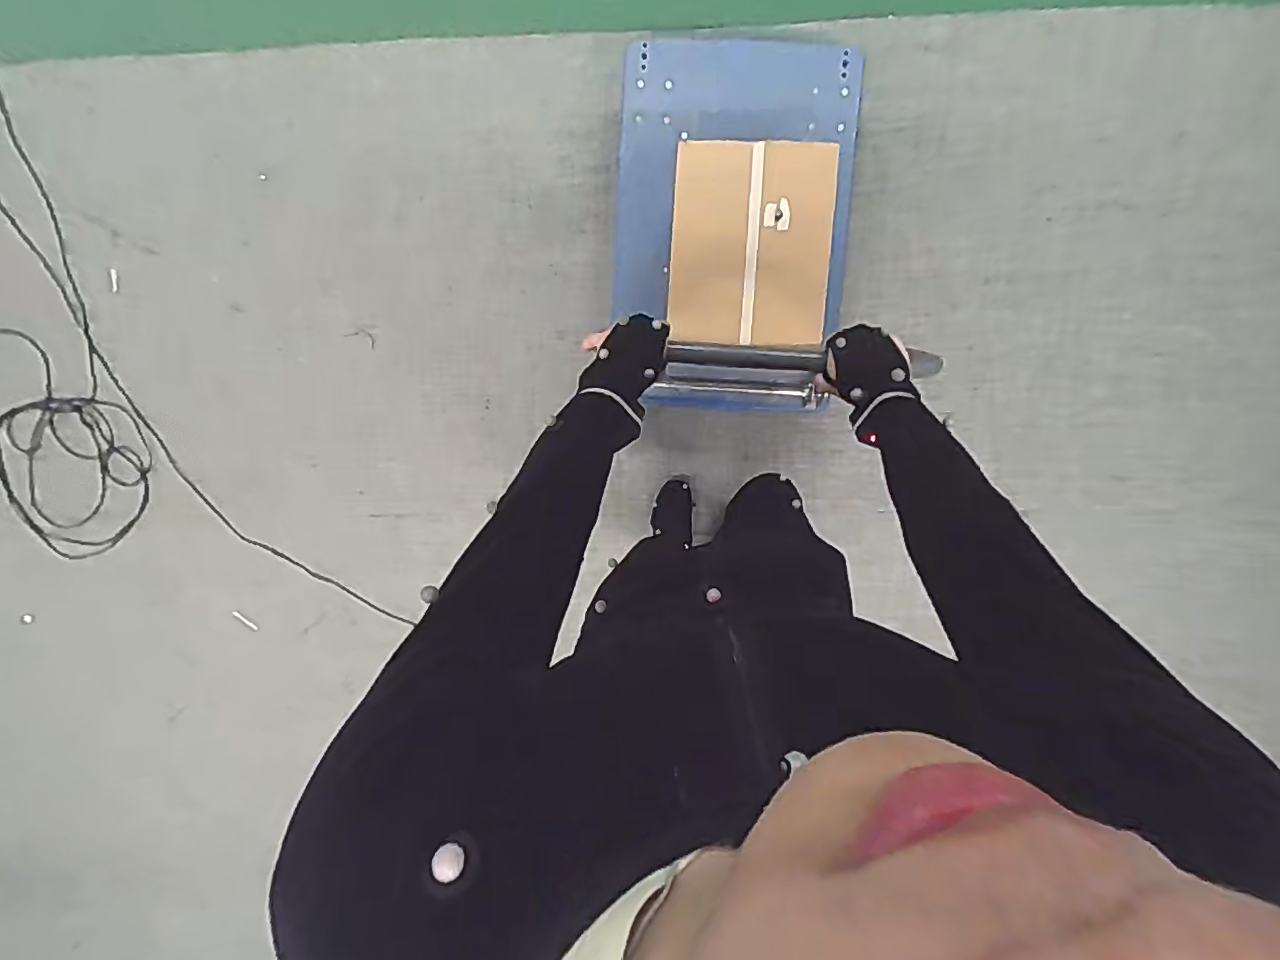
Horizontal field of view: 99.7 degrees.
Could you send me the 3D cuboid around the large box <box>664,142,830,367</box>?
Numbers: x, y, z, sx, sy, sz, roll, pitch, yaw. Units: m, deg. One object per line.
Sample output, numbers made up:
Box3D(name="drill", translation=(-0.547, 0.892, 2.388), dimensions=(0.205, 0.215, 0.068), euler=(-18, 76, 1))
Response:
Box3D(name="large box", translation=(0.220, -0.475, 1.225), dimensions=(0.320, 0.320, 0.408), euler=(3, 96, 2))
